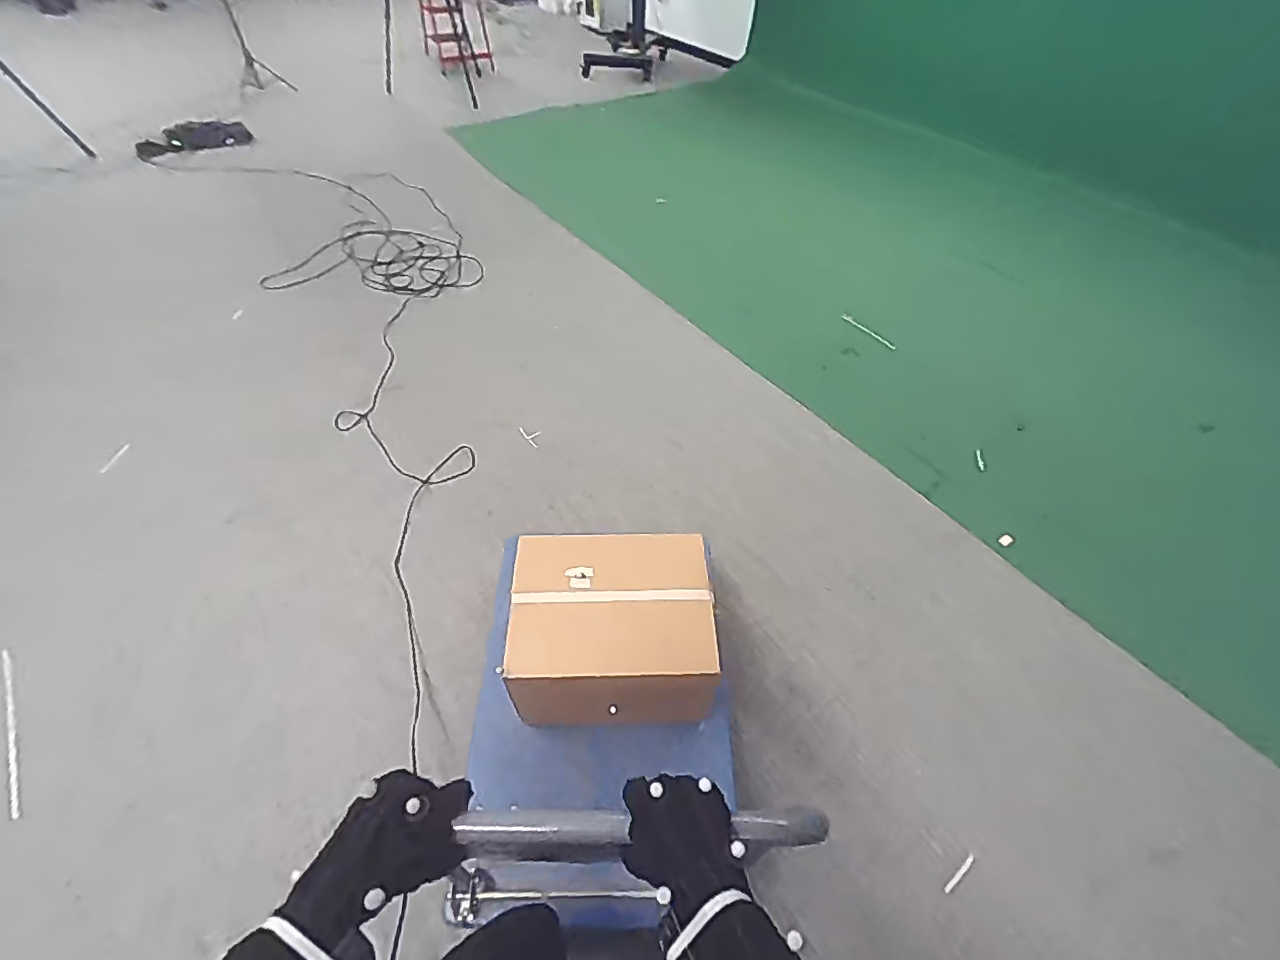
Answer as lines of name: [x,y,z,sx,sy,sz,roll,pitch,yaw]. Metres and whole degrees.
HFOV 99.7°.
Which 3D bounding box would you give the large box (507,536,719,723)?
large box: [-0.058,0.340,1.212,0.408,0.320,0.320,-1,50,-3]
